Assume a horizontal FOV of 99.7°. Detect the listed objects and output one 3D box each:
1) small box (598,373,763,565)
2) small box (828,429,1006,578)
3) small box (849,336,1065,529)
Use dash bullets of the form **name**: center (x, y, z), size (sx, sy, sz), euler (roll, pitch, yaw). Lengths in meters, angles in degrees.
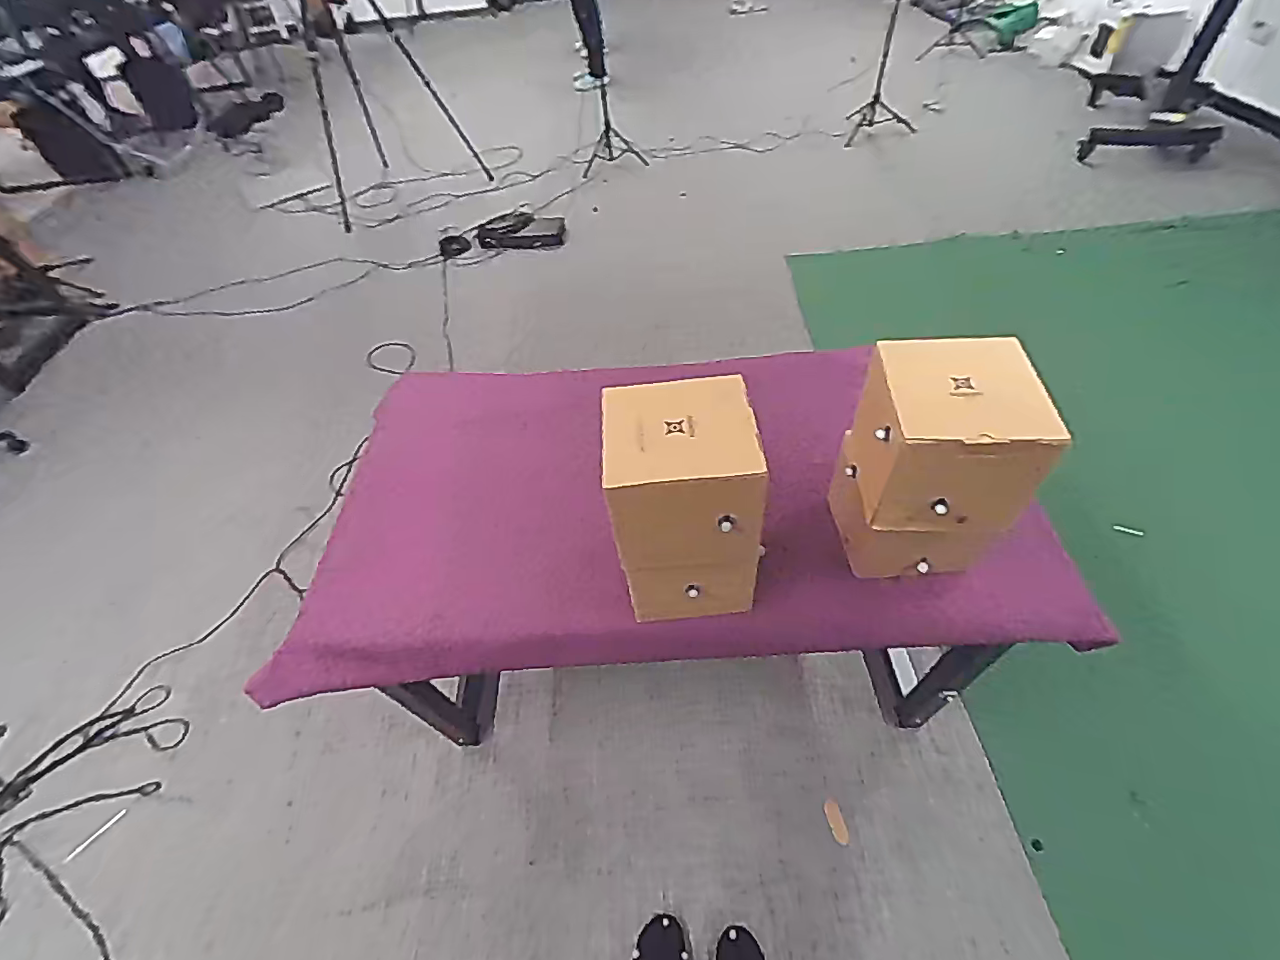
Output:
- **small box**: center (0.048, -0.010, 0.675), size (0.179, 0.176, 0.168), euler (-6, 48, 4)
- **small box**: center (0.401, 0.031, 0.813), size (0.179, 0.176, 0.168), euler (-6, 48, 3)
- **small box**: center (0.371, -0.060, 0.677), size (0.168, 0.176, 0.179), euler (0, 51, 8)
